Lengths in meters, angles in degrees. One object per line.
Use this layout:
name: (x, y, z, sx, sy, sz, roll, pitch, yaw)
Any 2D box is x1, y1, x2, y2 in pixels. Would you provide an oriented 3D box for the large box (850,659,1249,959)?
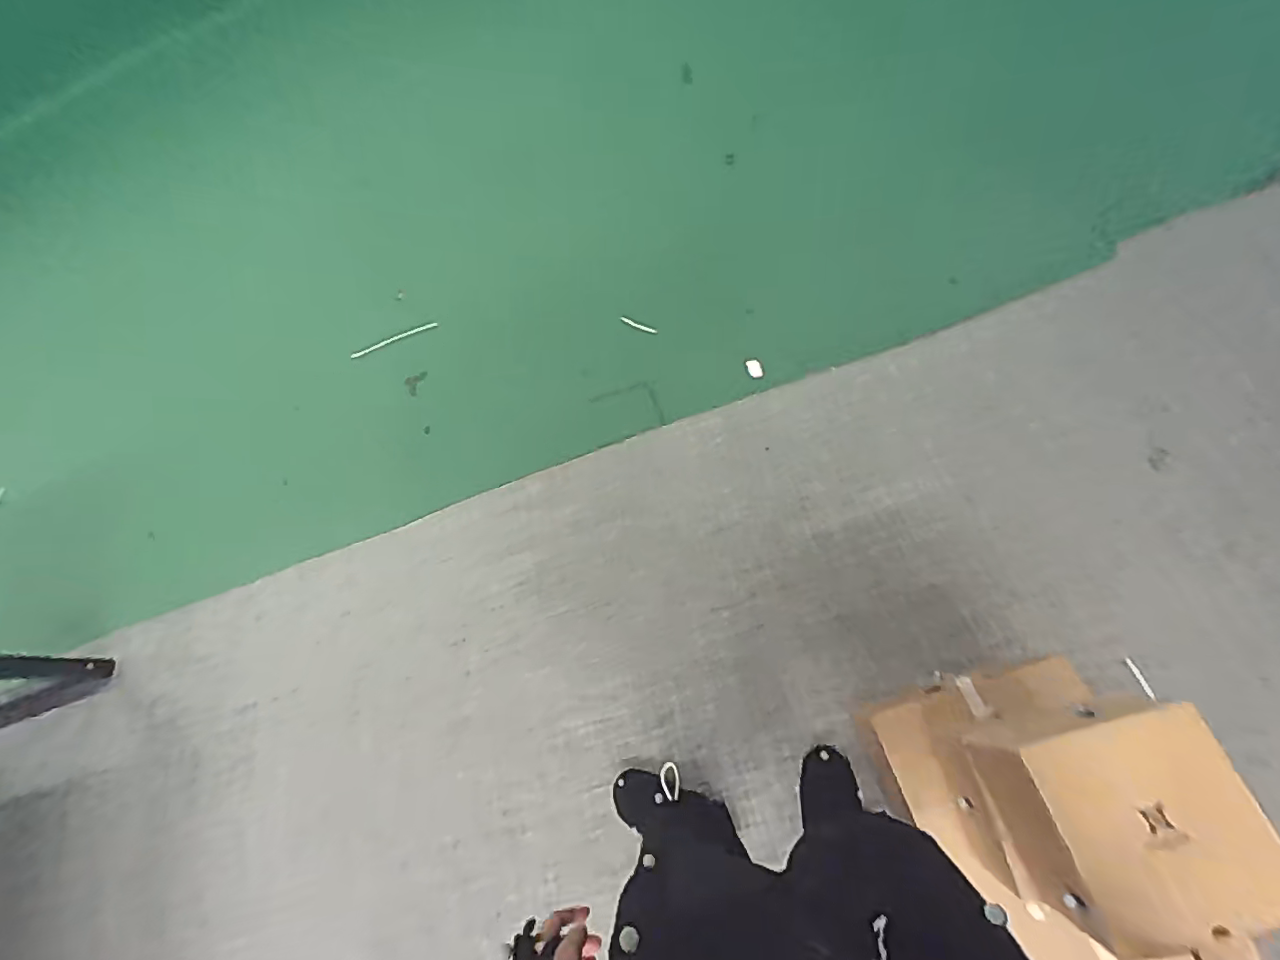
large box: (0.599, 0.545, 0.896, 0.320, 0.320, 0.408, -21, 68, 6)

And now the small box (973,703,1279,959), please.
small box: (0.484, 0.341, 0.555, 0.168, 0.176, 0.179, -19, 67, 6)
